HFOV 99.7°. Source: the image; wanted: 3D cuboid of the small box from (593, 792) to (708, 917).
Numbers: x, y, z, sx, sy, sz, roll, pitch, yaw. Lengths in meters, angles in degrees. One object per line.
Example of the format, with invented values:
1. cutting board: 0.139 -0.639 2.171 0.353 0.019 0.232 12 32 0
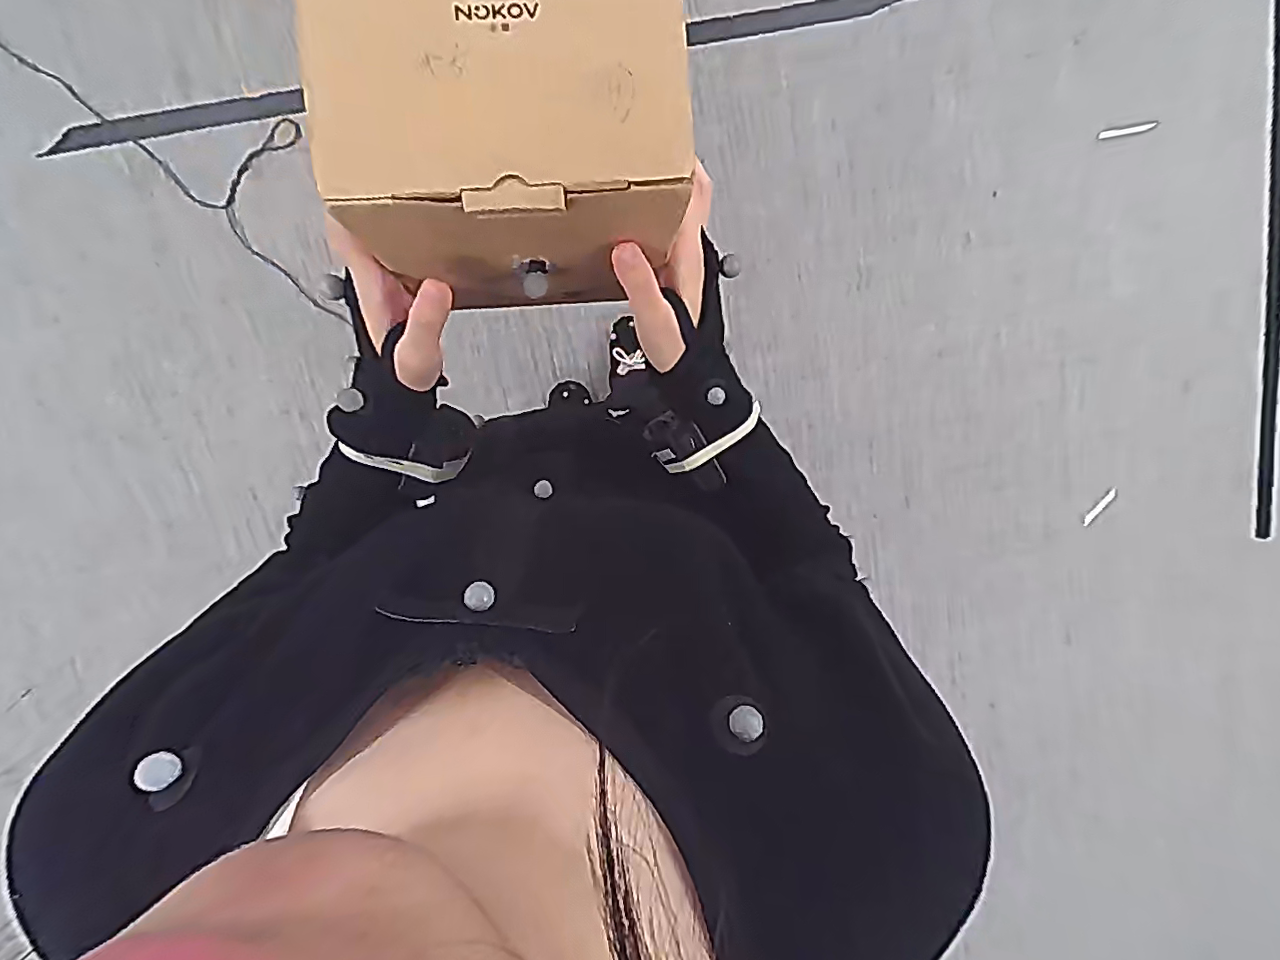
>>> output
1. small box: 0.021 0.662 0.904 0.179 0.176 0.168 -9 101 -3

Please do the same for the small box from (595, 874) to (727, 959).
1. small box: 0.033 0.693 0.746 0.179 0.176 0.168 -8 101 -3

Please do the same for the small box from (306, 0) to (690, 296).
1. small box: -0.068 -0.216 0.318 0.168 0.176 0.179 -5 93 -5
